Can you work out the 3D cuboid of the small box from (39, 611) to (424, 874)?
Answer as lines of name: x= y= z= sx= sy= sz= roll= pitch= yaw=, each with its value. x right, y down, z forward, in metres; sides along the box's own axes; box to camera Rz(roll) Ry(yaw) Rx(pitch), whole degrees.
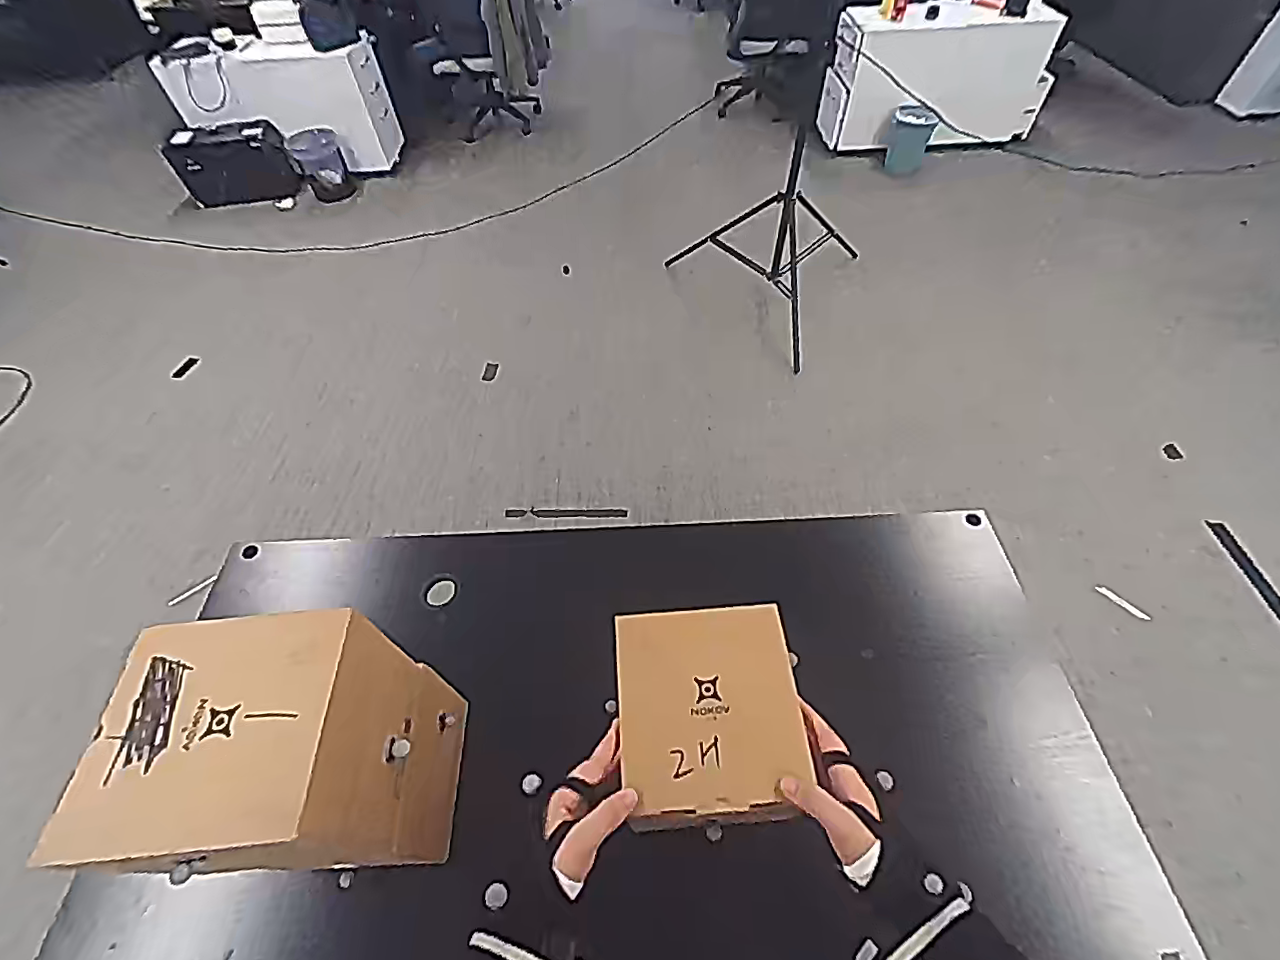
small box: x=-0.313 y=0.231 z=0.467 sx=0.179 sy=0.176 sz=0.168 roll=-5 pitch=53 yaw=-1

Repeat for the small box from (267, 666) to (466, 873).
small box: x=-0.305 y=0.325 z=0.603 sx=0.168 sy=0.176 sz=0.179 roll=-5 pitch=54 yaw=0
